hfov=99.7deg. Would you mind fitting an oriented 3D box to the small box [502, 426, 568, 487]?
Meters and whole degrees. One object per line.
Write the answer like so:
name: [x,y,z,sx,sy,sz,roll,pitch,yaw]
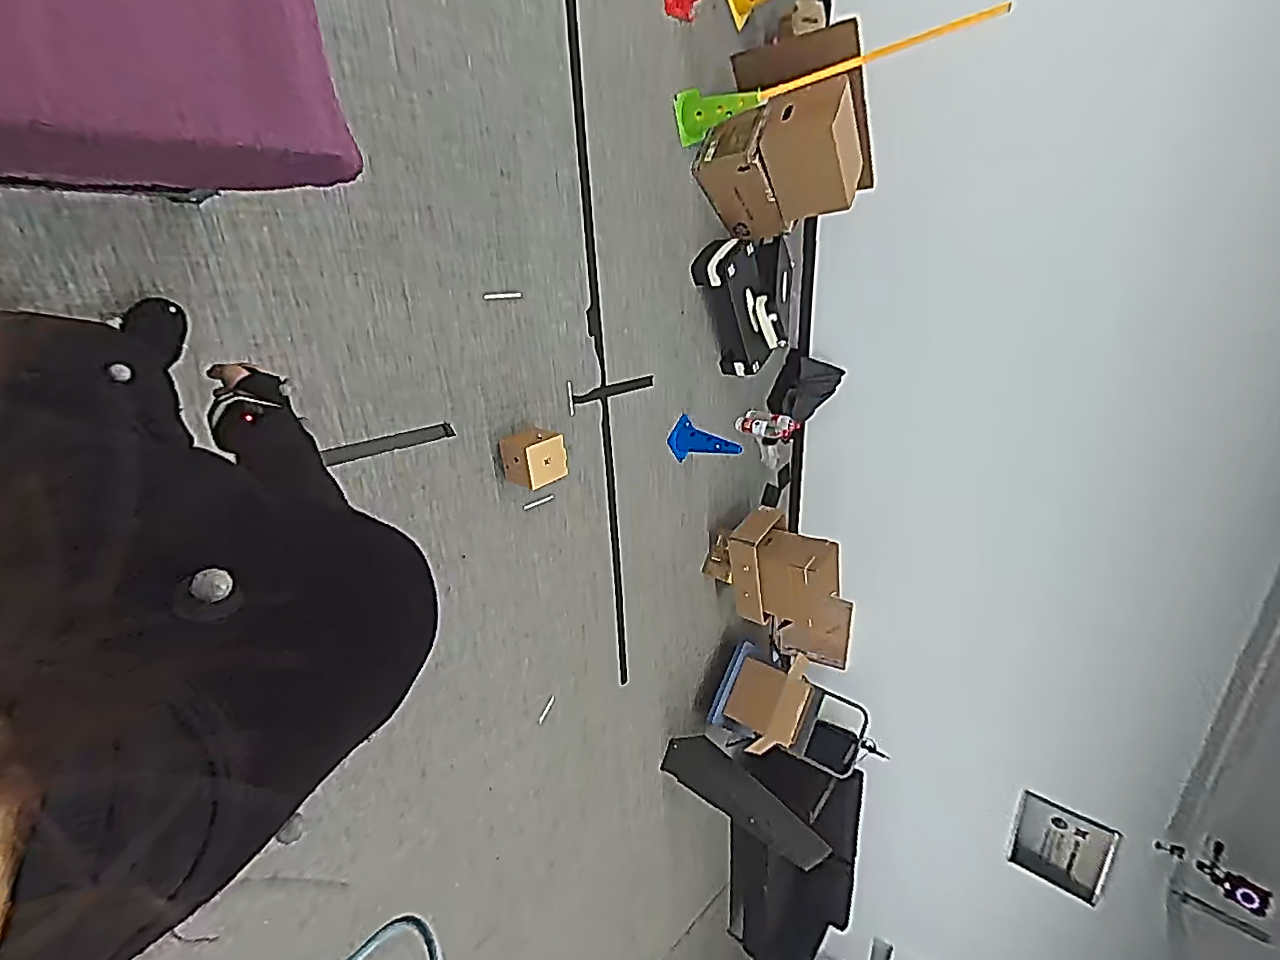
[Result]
small box: [-0.398,-0.093,2.015,0.179,0.176,0.168,-29,123,-43]
